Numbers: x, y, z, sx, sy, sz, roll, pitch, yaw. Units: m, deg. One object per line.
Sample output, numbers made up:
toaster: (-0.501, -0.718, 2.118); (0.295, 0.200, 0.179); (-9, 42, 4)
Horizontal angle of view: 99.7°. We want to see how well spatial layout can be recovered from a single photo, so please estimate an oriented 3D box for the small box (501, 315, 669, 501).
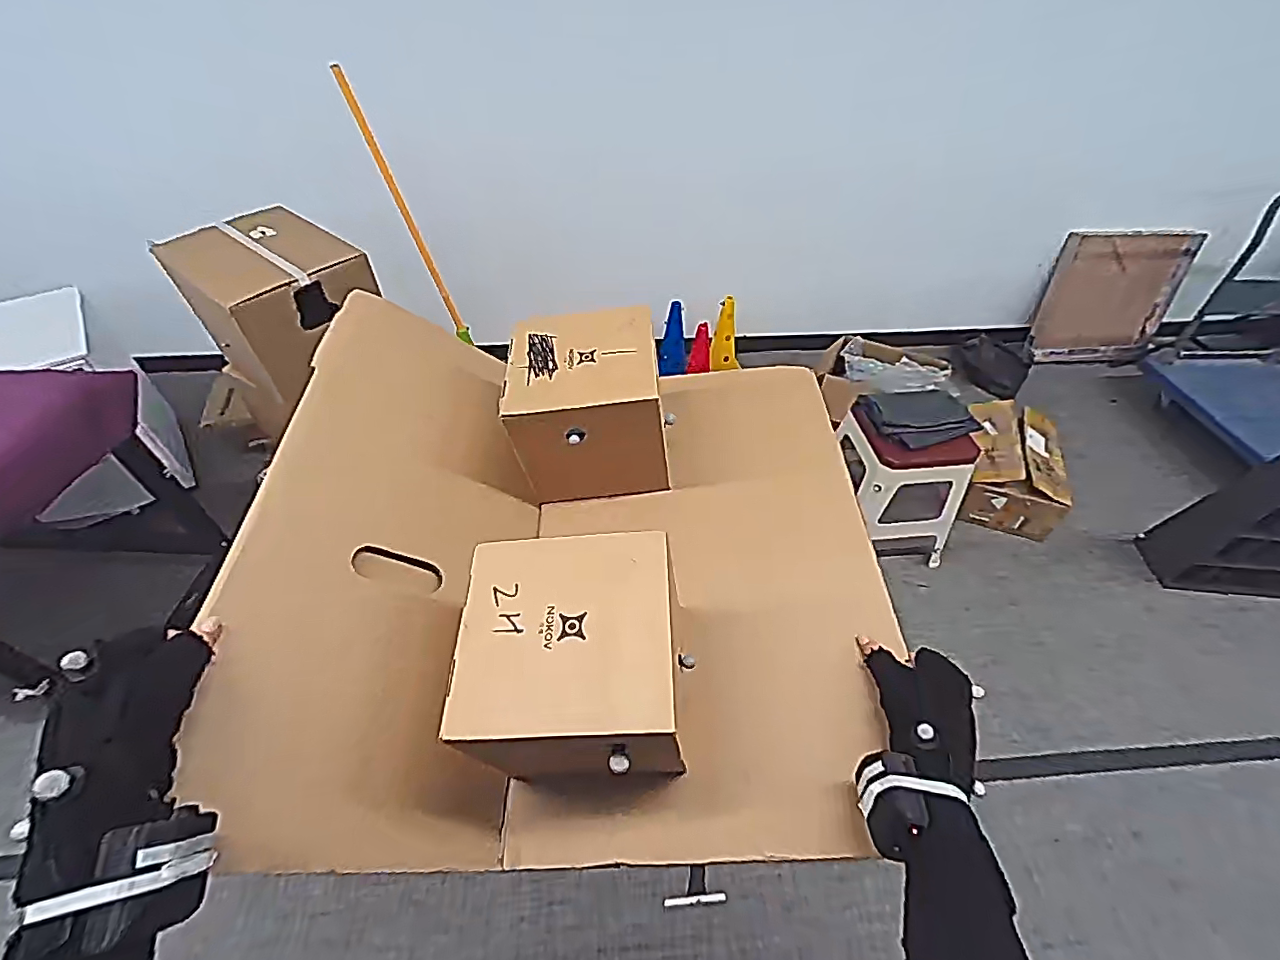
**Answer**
small box: (-0.061, -0.086, 0.699); (0.179, 0.176, 0.168); (-6, 53, 4)
